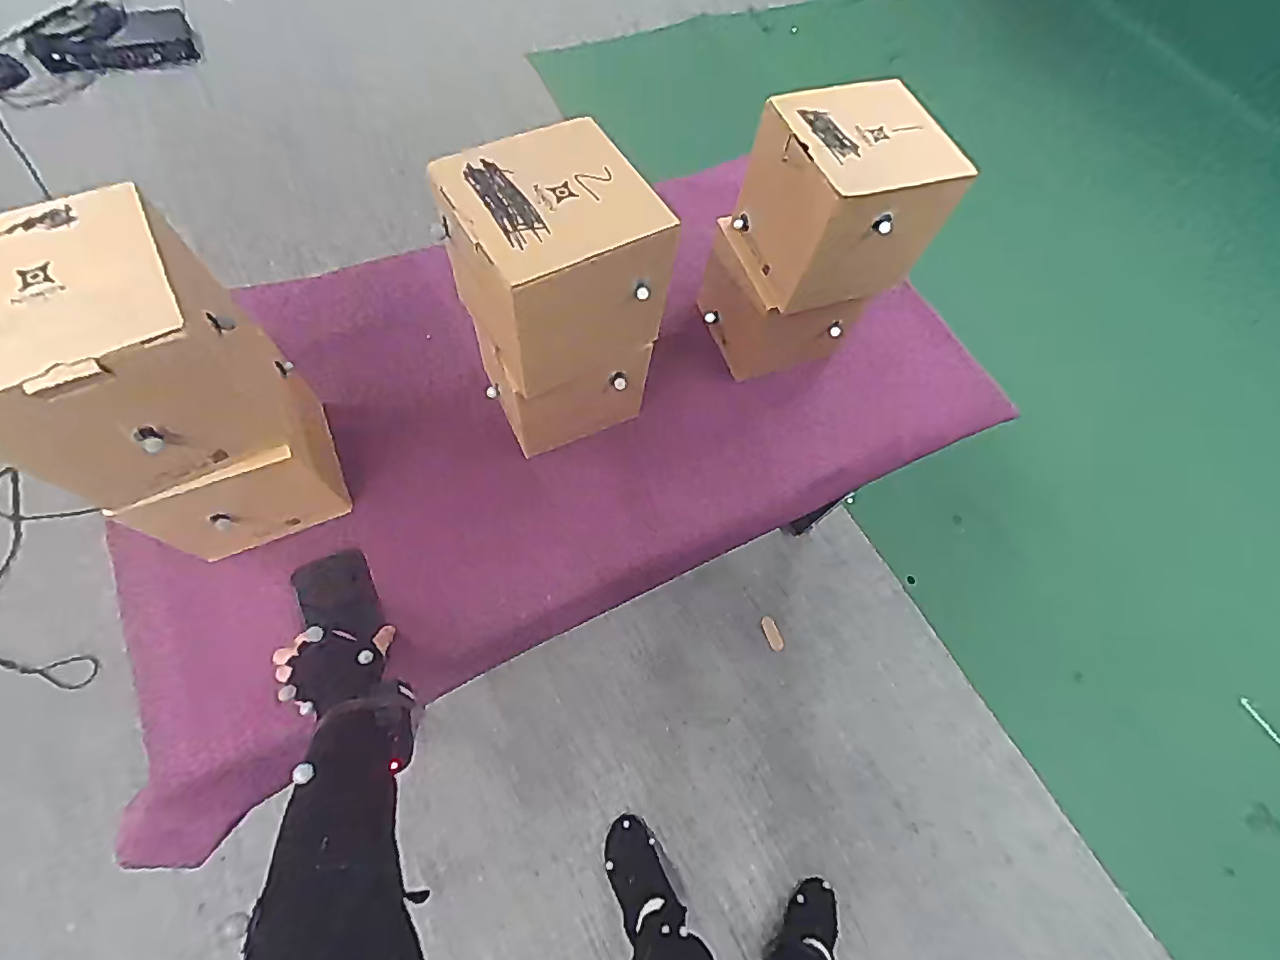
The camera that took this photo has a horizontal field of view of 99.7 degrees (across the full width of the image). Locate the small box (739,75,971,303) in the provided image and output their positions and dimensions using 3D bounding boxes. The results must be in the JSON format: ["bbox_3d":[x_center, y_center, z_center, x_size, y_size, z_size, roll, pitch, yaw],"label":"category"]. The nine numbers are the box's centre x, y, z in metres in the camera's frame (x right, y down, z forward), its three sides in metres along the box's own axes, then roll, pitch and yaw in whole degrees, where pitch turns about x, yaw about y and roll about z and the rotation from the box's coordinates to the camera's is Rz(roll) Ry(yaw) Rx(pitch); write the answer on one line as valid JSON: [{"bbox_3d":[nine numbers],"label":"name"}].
[{"bbox_3d":[0.233,-0.338,0.647,0.179,0.176,0.168,-17,69,-13],"label":"small box"}]

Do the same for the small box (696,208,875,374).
[{"bbox_3d":[0.203,-0.282,0.798,0.179,0.176,0.168,-17,69,-13],"label":"small box"}]

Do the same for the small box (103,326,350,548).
[{"bbox_3d":[-0.463,-0.037,0.620,0.168,0.176,0.179,-22,70,-15],"label":"small box"}]

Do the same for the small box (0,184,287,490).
[{"bbox_3d":[-0.451,-0.109,0.473,0.168,0.176,0.179,-27,73,-17],"label":"small box"}]

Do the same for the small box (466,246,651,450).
[{"bbox_3d":[-0.106,-0.167,0.713,0.179,0.176,0.168,-23,70,-15],"label":"small box"}]
